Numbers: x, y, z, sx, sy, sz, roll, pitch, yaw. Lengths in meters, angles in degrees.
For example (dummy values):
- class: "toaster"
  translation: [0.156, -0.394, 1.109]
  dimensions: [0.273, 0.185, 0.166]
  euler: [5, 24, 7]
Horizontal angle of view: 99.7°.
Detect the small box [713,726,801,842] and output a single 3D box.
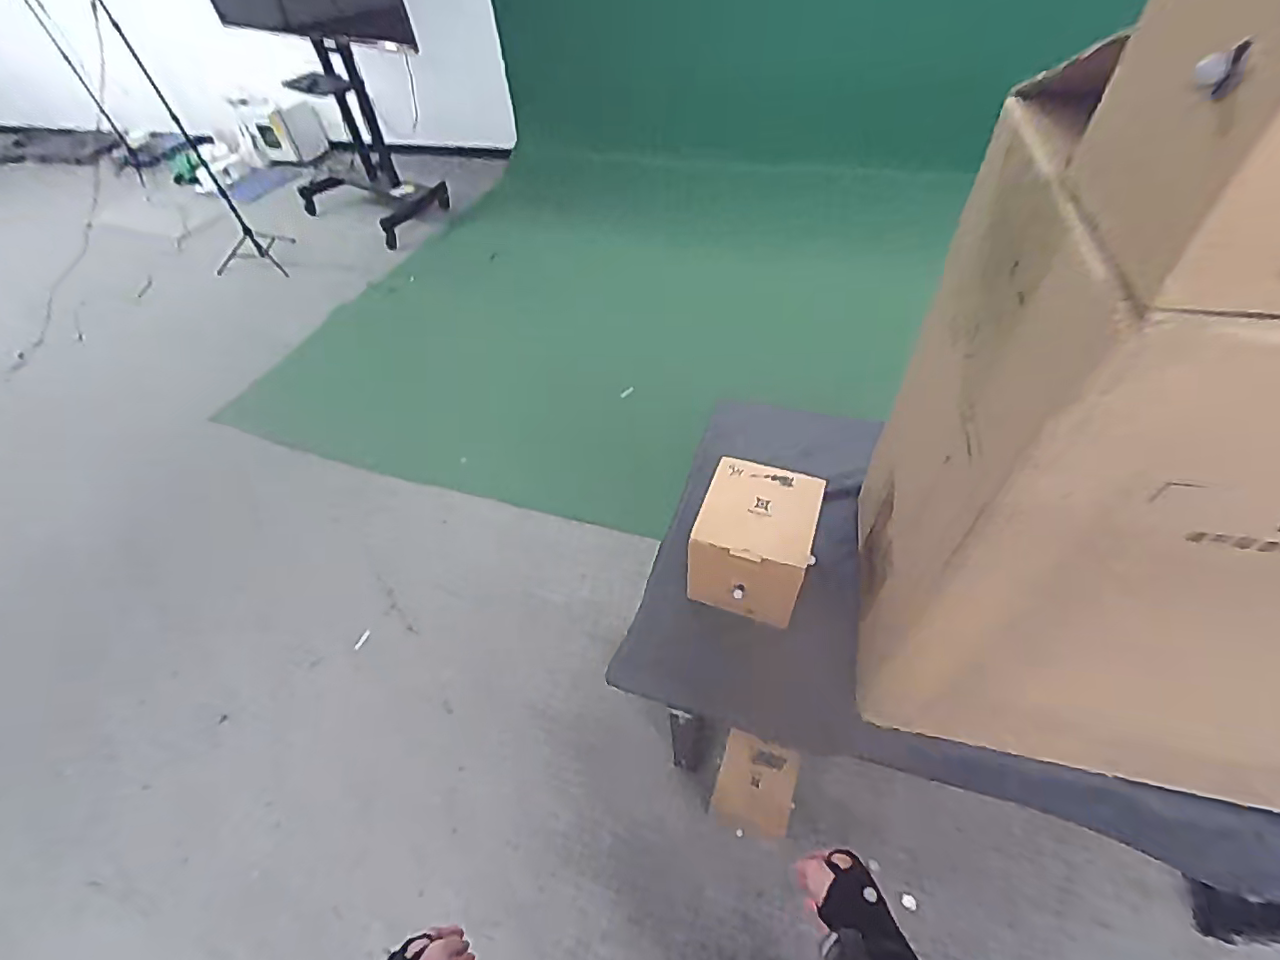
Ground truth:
- class: "small box"
  translation: [0.273, 0.724, 1.284]
  dimensions: [0.168, 0.176, 0.179]
  euler: [14, 54, 18]
